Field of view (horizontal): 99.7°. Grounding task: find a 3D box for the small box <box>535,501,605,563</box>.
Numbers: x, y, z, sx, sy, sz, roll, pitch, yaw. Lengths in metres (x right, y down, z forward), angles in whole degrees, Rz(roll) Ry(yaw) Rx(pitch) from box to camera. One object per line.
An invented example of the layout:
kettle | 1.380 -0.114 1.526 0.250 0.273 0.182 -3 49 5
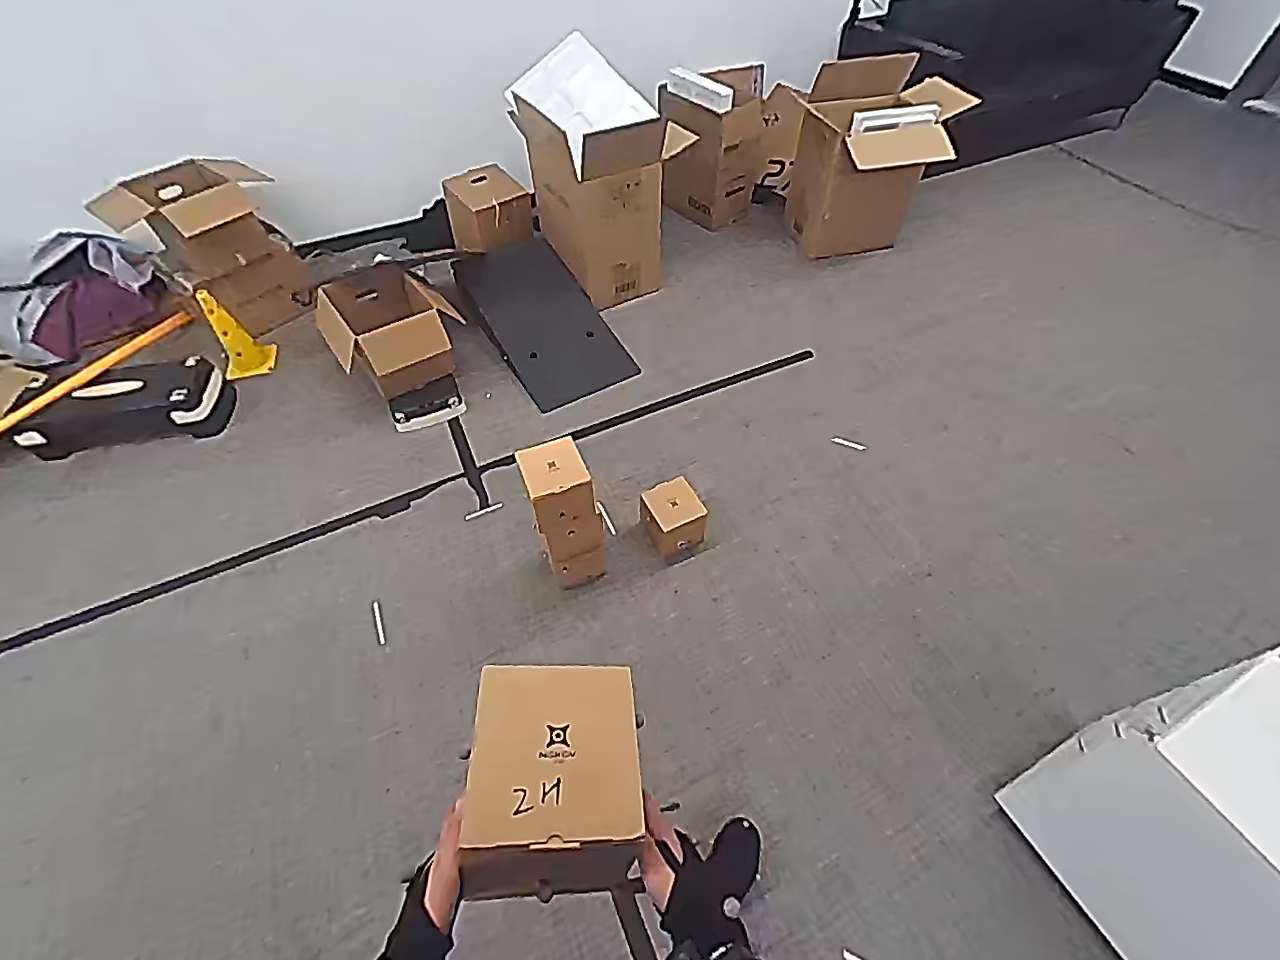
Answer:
small box | -0.215 0.124 1.631 0.179 0.176 0.168 -20 54 -16

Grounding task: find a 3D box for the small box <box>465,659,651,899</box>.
small box | -0.091 0.317 0.581 0.168 0.176 0.179 4 39 -10

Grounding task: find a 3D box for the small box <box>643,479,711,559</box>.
small box | 0.120 0.135 1.833 0.168 0.176 0.179 -23 56 -15

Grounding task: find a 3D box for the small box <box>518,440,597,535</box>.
small box | -0.227 0.022 1.505 0.168 0.176 0.179 -19 54 -15
